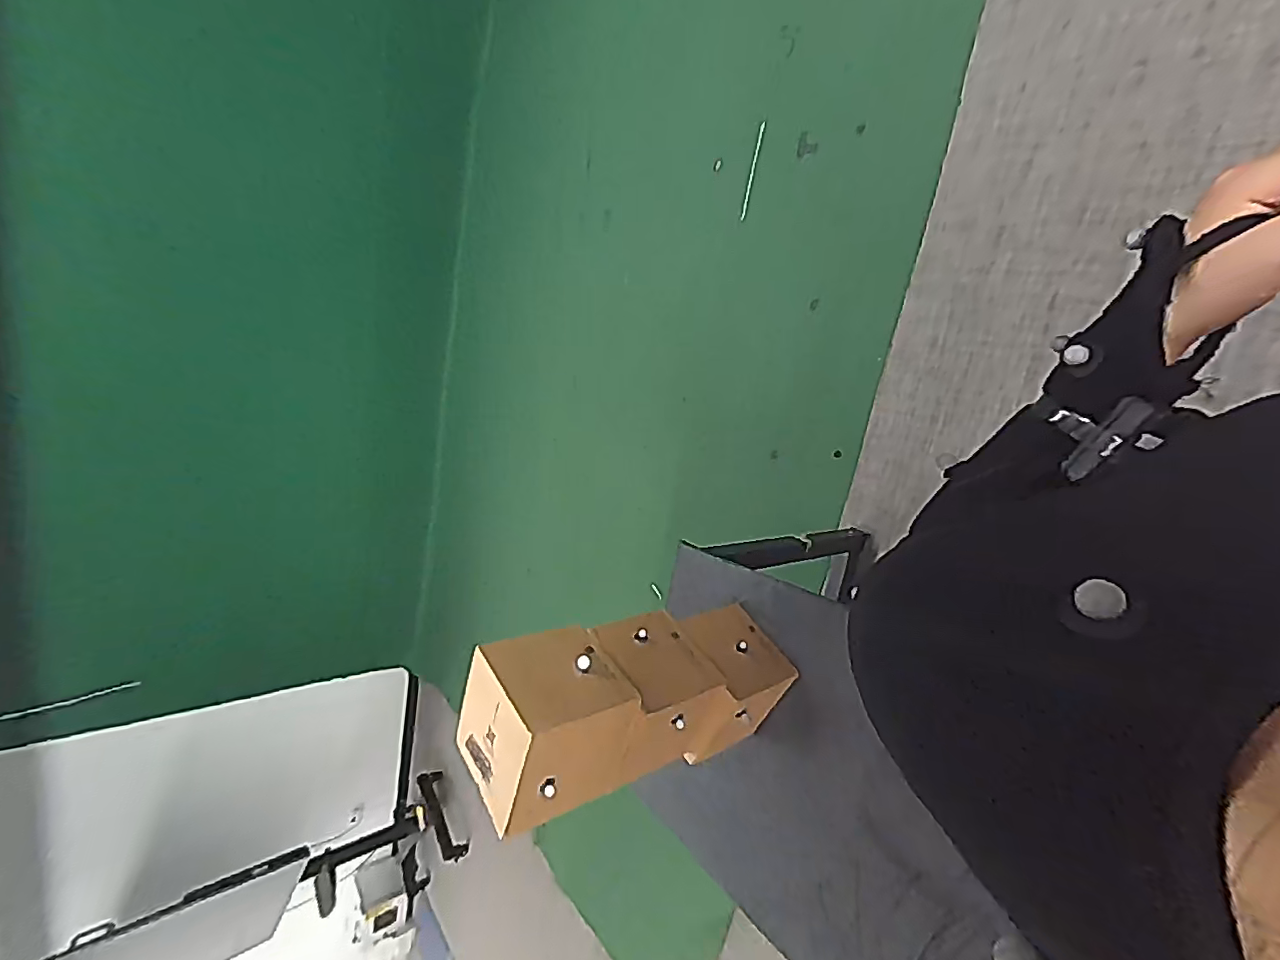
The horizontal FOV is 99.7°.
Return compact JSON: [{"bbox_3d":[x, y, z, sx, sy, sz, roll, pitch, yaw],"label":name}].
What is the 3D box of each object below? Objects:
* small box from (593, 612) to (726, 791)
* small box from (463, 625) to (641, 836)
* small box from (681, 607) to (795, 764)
[{"bbox_3d":[0.007,0.331,0.841,0.168,0.176,0.179,43,124,41],"label":"small box"},{"bbox_3d":[-0.121,0.325,0.738,0.168,0.176,0.179,36,117,43],"label":"small box"},{"bbox_3d":[0.139,0.343,0.936,0.168,0.176,0.179,48,127,37],"label":"small box"}]
